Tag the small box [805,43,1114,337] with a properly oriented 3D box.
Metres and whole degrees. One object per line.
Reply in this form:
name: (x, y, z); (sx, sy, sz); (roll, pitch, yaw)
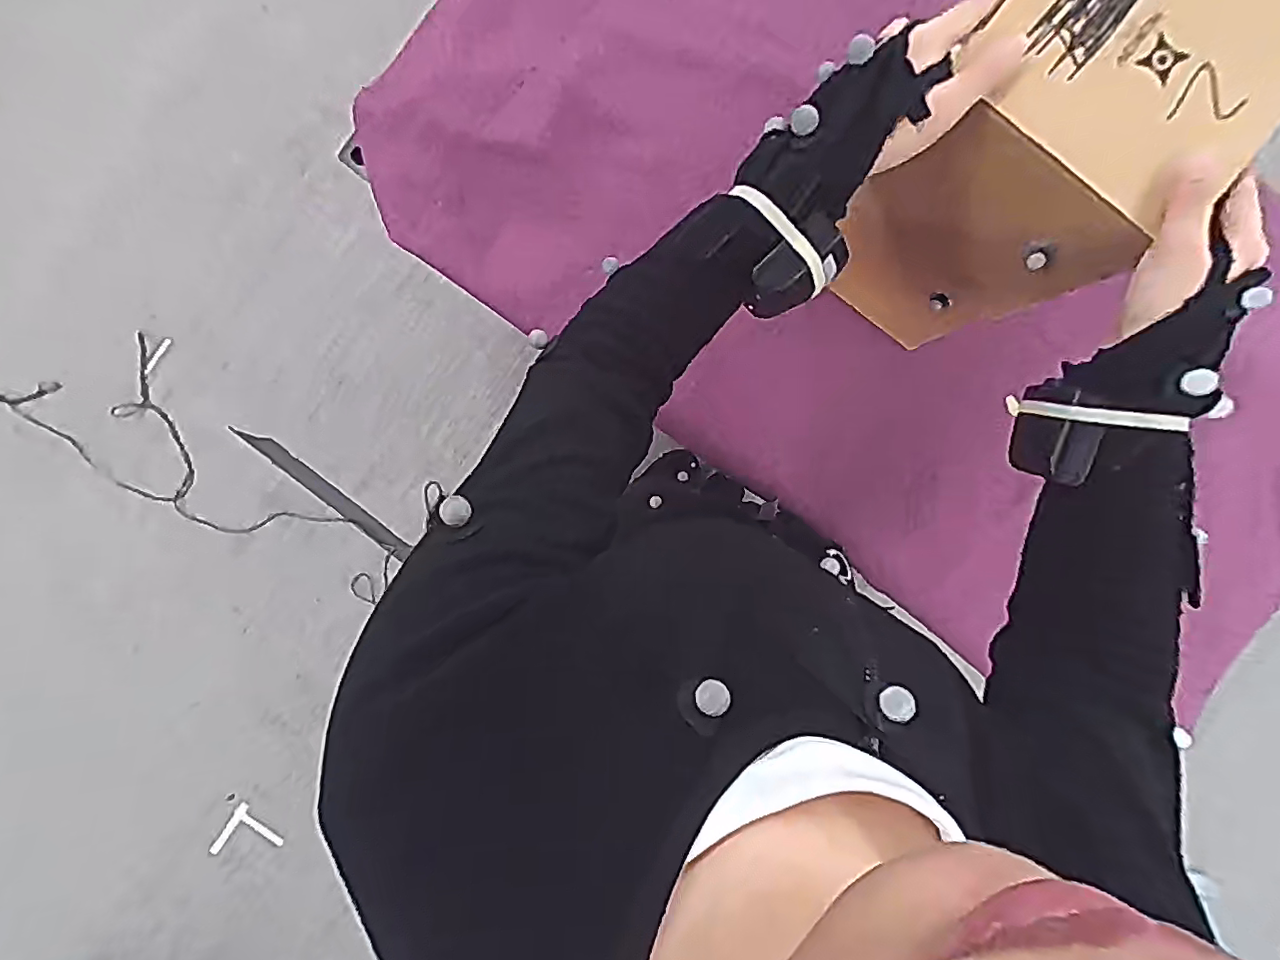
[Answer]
small box: (0.301, -0.271, 0.555); (0.179, 0.176, 0.168); (37, 93, -1)
